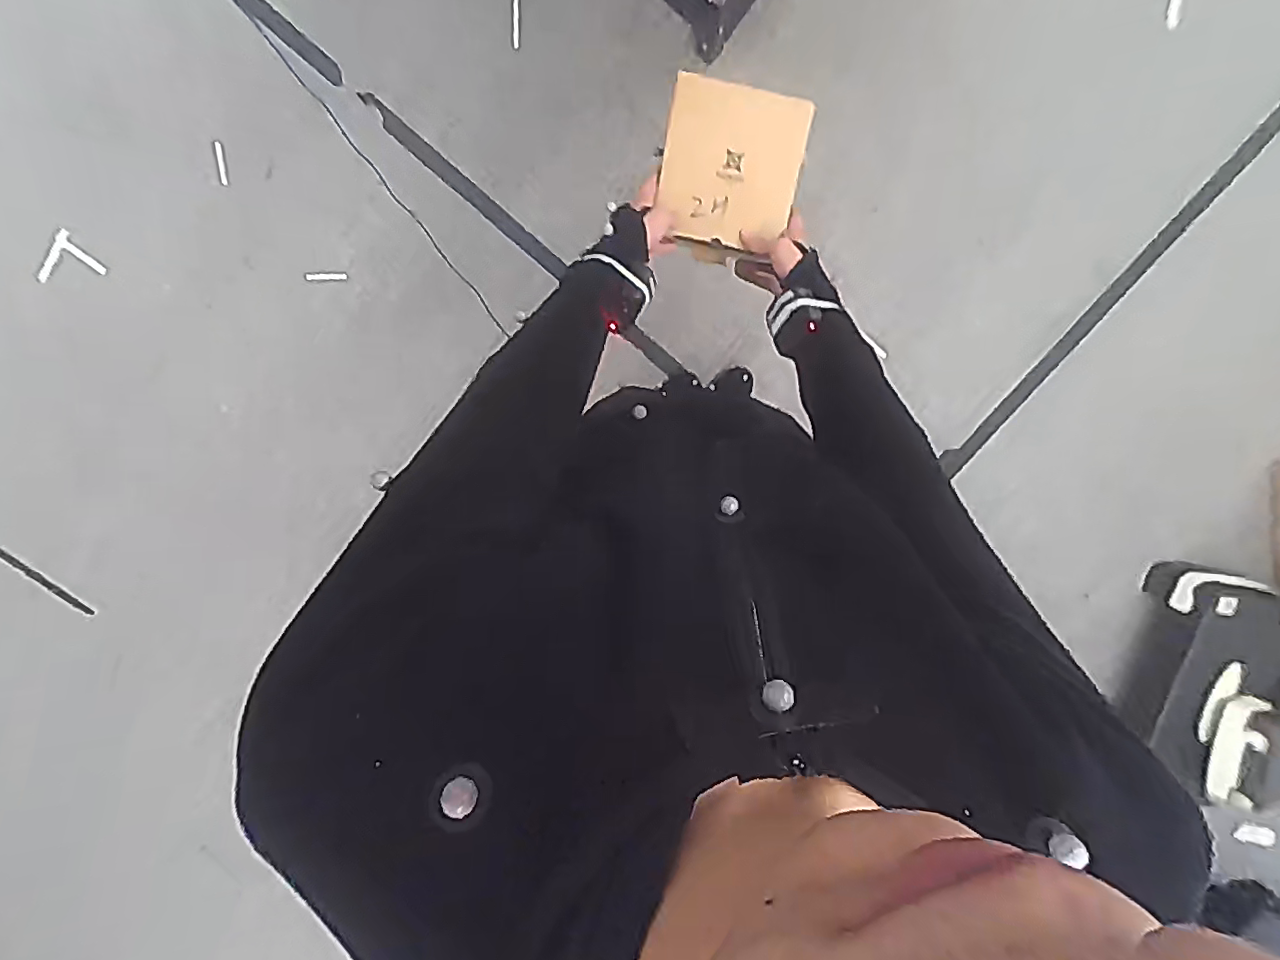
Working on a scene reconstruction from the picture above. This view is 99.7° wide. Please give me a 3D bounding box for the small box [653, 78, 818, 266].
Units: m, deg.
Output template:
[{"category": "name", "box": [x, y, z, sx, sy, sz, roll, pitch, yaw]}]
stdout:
[{"category": "small box", "box": [0.113, -0.400, 0.735, 0.168, 0.176, 0.179, 11, 111, -4]}]
